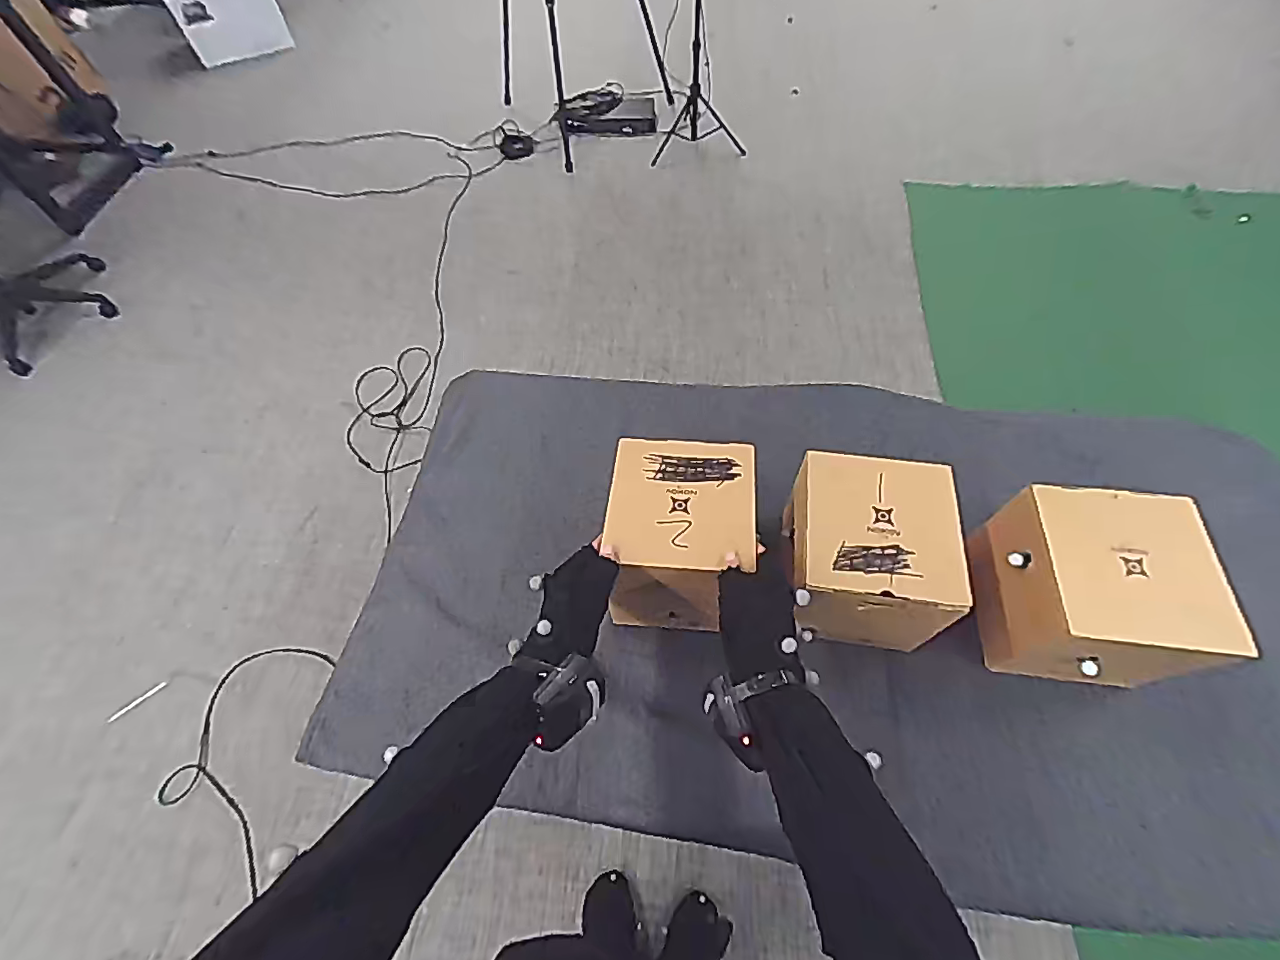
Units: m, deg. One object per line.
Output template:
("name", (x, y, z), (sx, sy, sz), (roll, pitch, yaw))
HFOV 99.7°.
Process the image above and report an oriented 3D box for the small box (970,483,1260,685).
("small box", (0.512, 0.125, 0.620), (0.168, 0.176, 0.179), (5, 59, 7))
